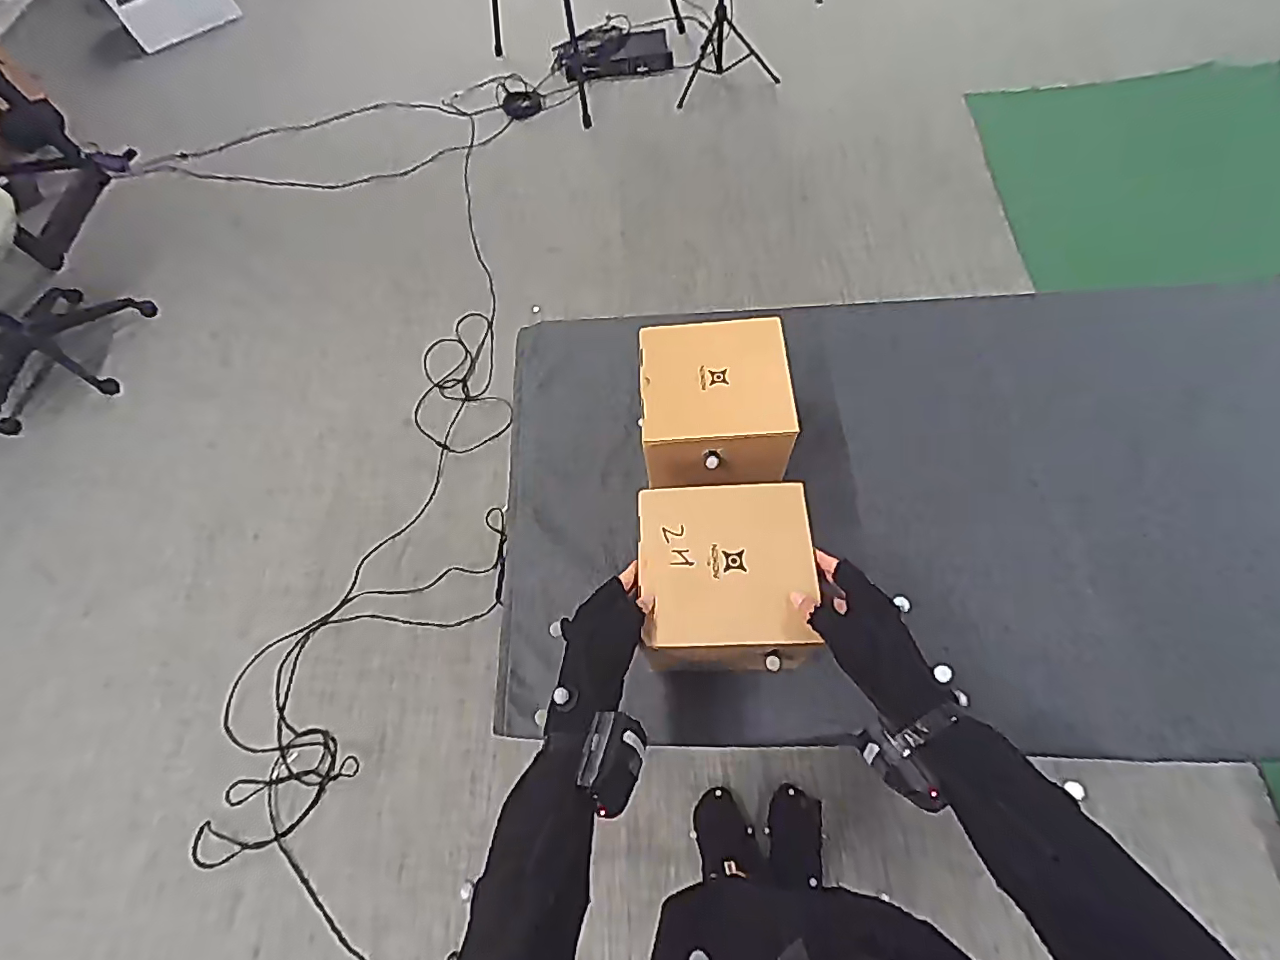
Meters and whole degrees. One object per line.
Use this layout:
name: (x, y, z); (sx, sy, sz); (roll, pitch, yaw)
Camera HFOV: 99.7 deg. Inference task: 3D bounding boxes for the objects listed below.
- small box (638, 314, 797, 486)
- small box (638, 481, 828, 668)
small box: (0.093, -0.089, 0.702); (0.179, 0.176, 0.168); (-5, 65, 5)
small box: (0.092, 0.112, 0.603); (0.179, 0.176, 0.168); (-3, 63, 5)
